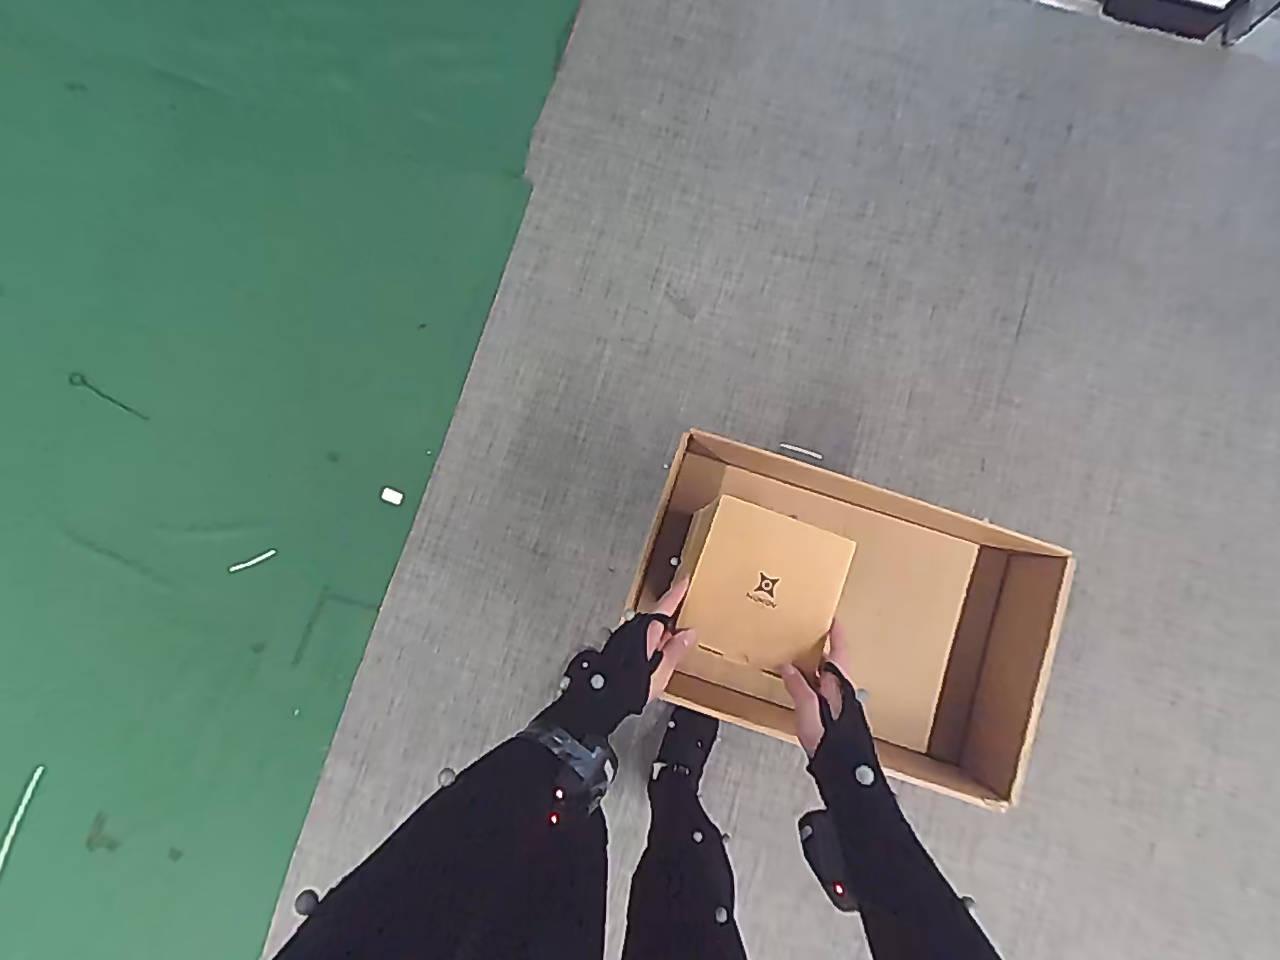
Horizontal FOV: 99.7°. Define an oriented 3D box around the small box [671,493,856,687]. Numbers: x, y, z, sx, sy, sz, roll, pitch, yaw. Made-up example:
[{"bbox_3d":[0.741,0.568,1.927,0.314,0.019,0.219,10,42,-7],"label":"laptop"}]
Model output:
[{"bbox_3d":[0.143,0.132,0.691,0.168,0.176,0.179,20,83,3],"label":"small box"}]
